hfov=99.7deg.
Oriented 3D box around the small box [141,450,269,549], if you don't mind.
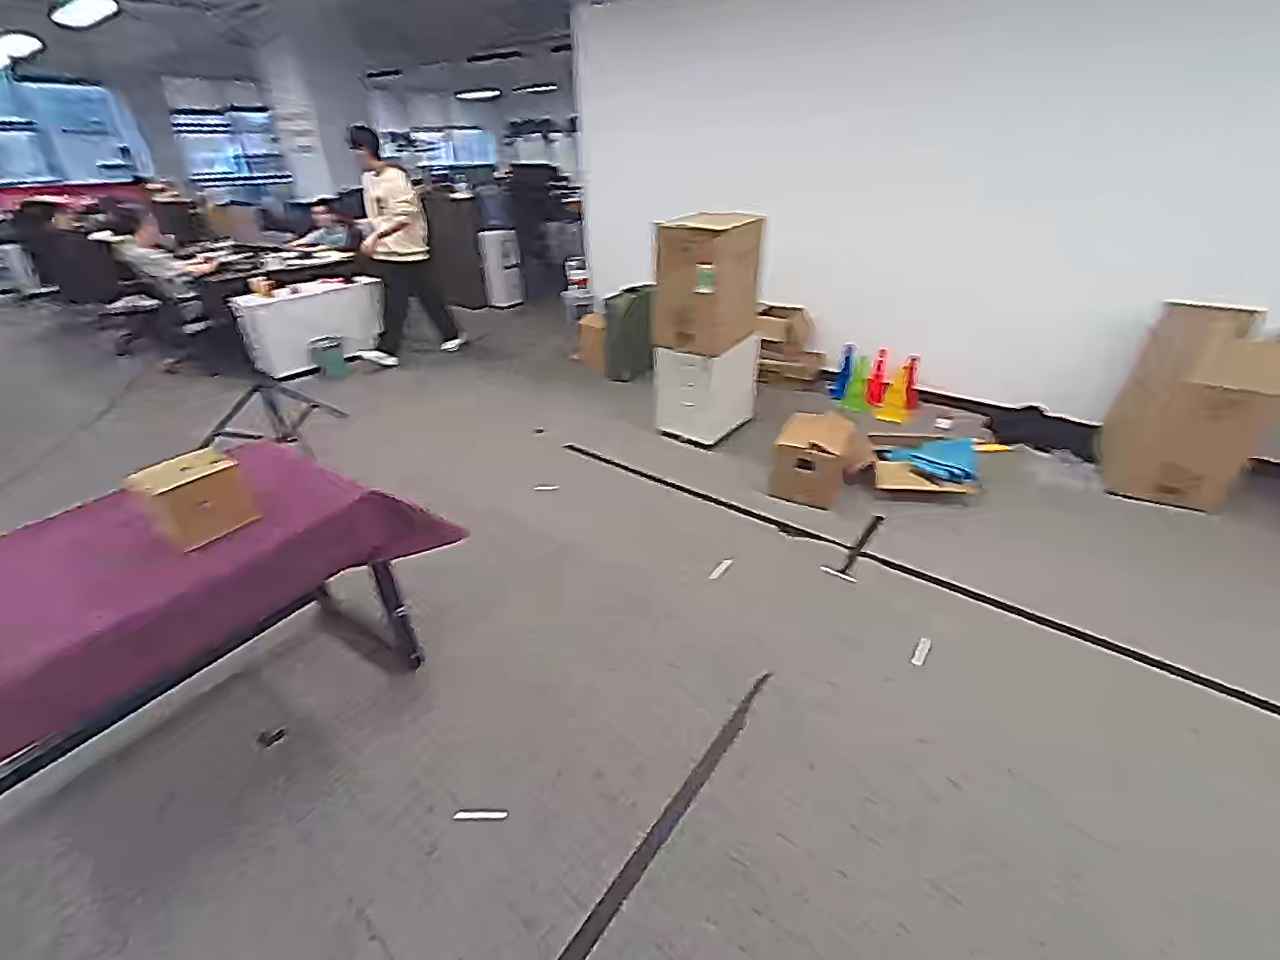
[{"bbox_3d":[-1.104,0.049,1.383,0.168,0.176,0.179,18,37,28],"label":"small box"}]
